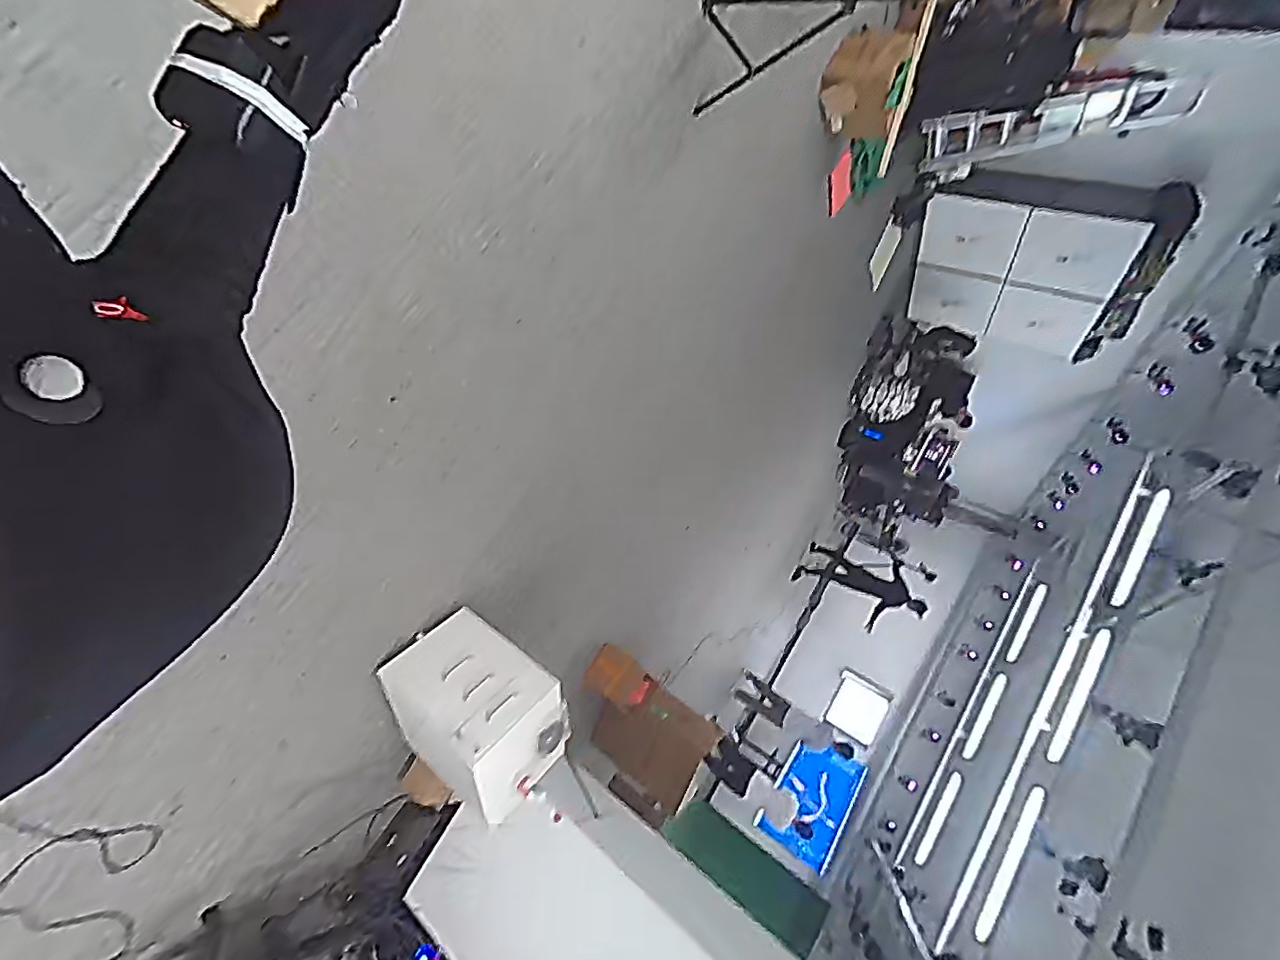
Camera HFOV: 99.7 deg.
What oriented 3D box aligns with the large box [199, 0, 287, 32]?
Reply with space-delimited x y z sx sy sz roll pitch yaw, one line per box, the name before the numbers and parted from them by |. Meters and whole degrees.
large box | -0.390 -0.563 0.270 0.320 0.320 0.408 -54 154 10
